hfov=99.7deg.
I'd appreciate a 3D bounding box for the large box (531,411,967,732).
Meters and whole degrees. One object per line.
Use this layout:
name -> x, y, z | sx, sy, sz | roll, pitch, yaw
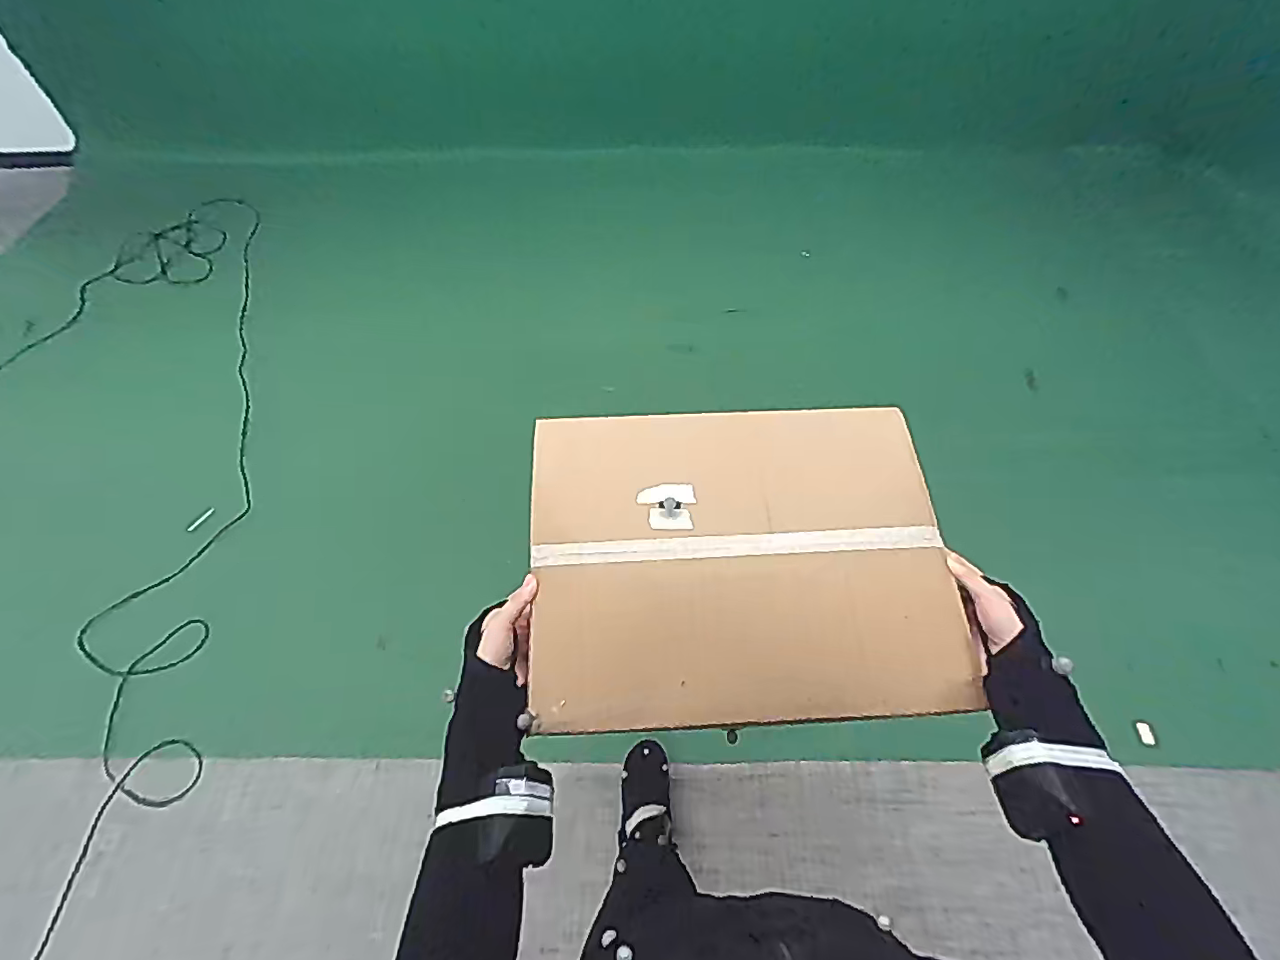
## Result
large box -> 0.094, 0.133, 0.680 | 0.408, 0.320, 0.320 | -3, 64, -1
